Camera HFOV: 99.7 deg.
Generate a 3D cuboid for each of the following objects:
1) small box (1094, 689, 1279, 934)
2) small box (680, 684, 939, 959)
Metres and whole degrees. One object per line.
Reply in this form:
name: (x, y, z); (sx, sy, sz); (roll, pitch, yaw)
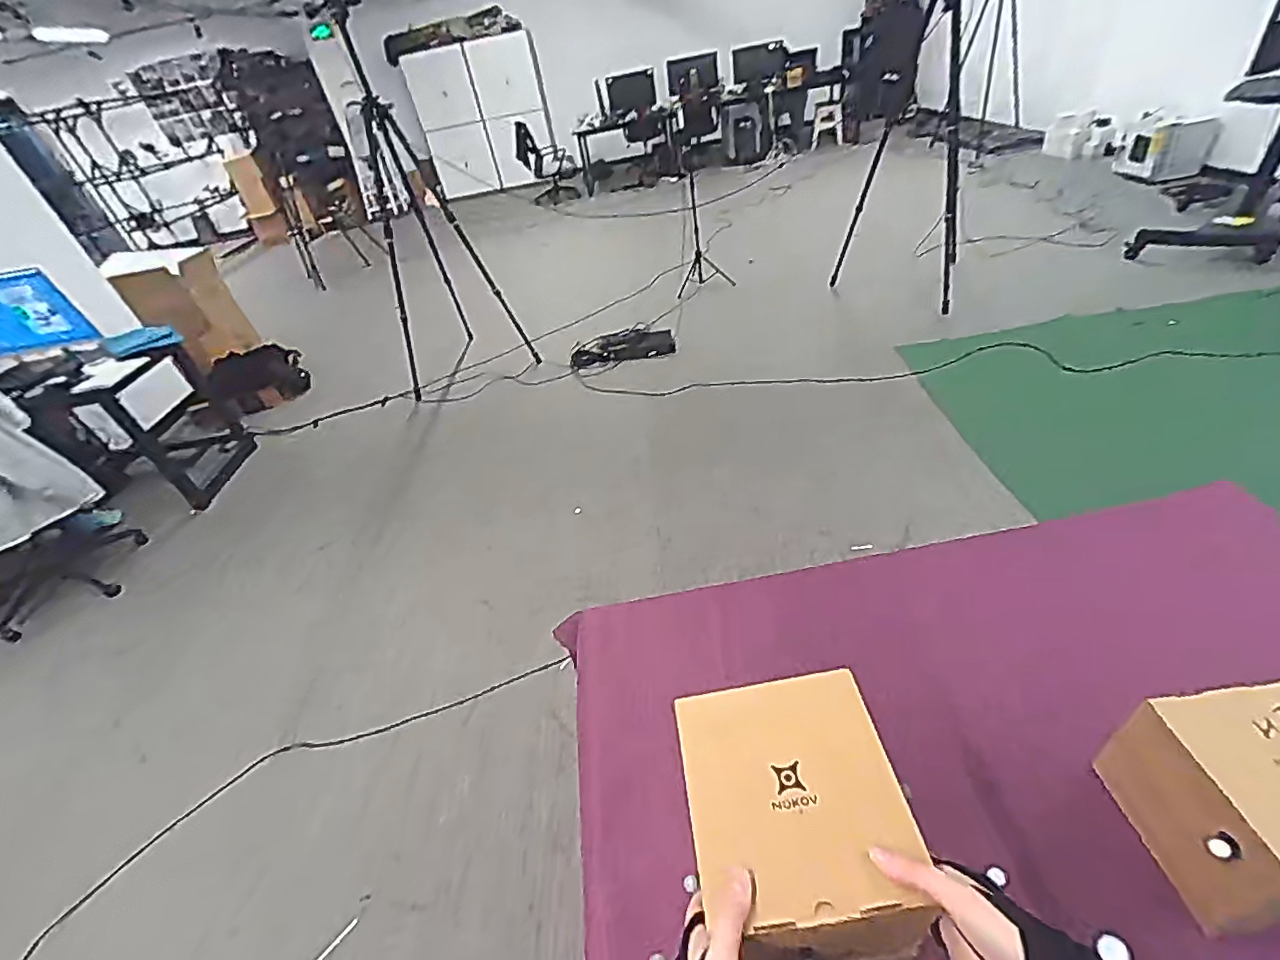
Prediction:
small box: (0.643, 0.349, 0.568); (0.168, 0.176, 0.179); (-9, 38, 4)
small box: (0.127, 0.310, 0.486); (0.168, 0.176, 0.179); (-7, 45, 2)
